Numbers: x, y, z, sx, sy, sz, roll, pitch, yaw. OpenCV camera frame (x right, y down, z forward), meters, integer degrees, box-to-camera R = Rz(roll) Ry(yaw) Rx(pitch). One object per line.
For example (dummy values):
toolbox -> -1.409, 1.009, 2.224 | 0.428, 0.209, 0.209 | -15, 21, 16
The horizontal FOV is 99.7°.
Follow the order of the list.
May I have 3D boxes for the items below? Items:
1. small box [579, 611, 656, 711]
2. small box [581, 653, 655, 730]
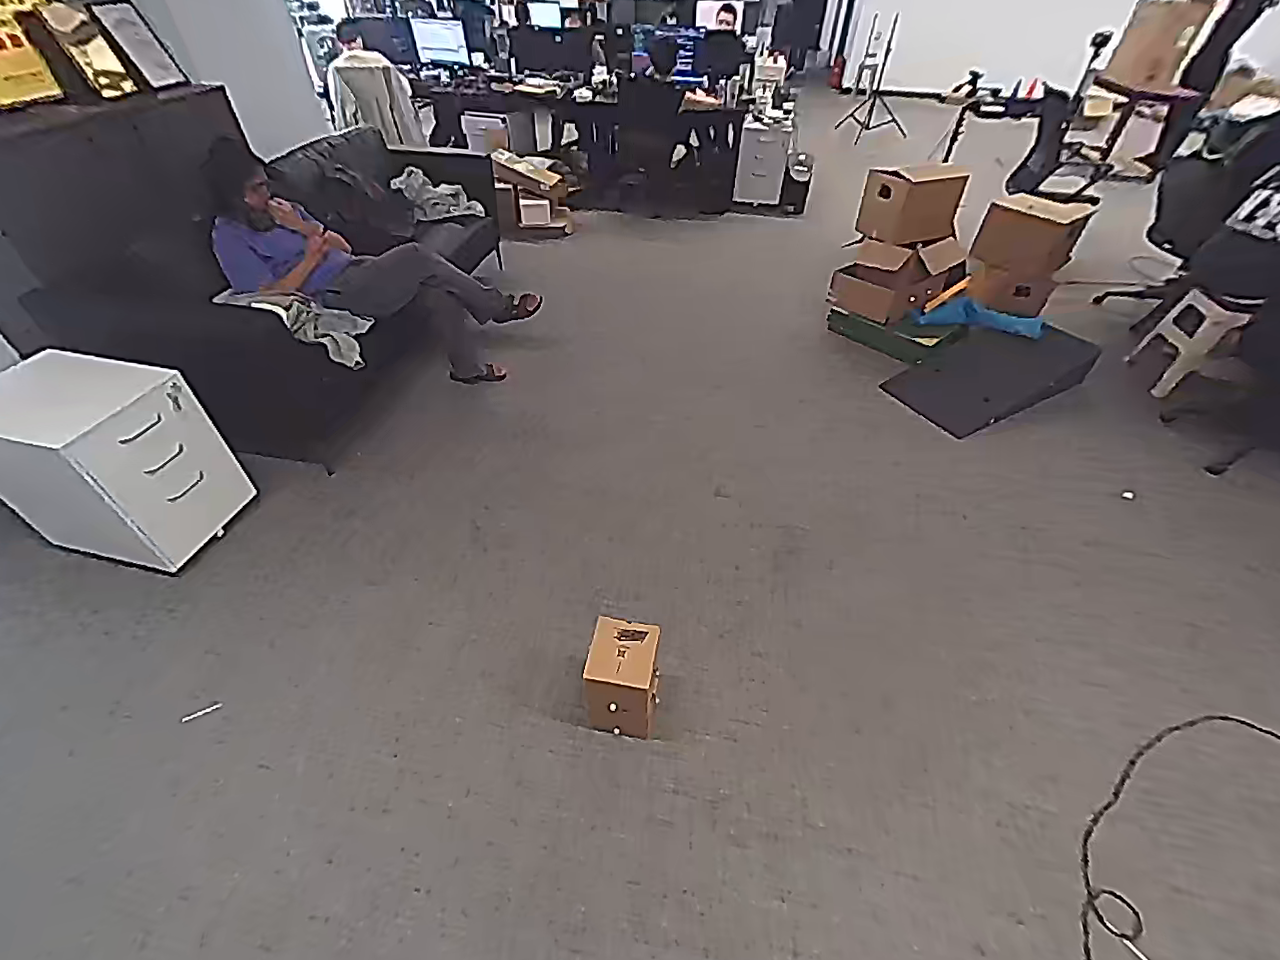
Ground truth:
small box -> -0.056, 0.473, 1.414 | 0.168, 0.176, 0.179 | 8, 45, 7
small box -> -0.060, 0.587, 1.534 | 0.179, 0.176, 0.168 | 10, 44, 7
